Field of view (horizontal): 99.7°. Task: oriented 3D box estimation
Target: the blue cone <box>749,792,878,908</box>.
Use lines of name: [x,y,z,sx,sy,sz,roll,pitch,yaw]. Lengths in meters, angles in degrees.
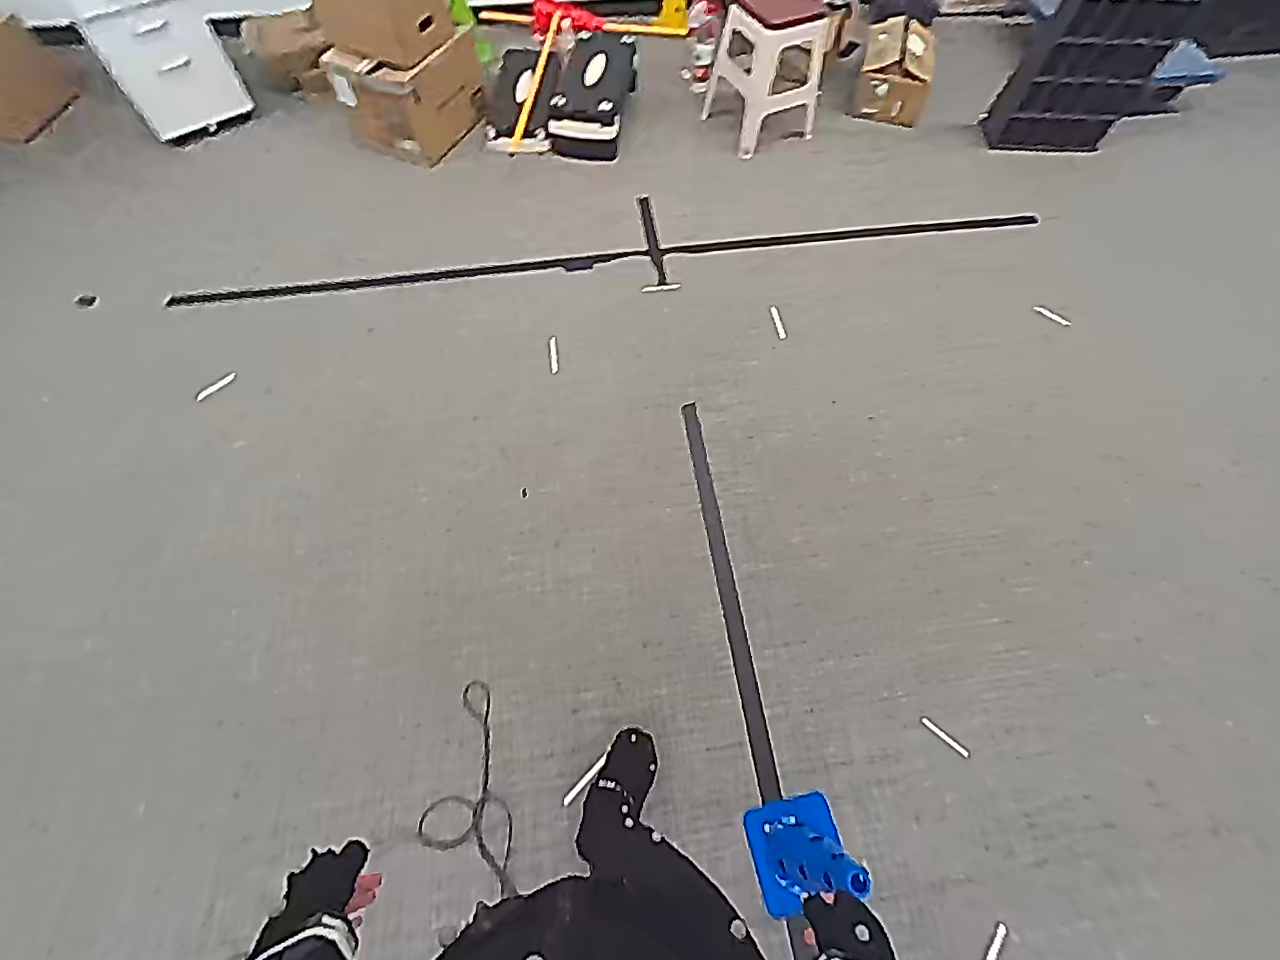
blue cone: [0.351,0.730,1.038,0.192,0.380,0.193,-9,63,-7]
